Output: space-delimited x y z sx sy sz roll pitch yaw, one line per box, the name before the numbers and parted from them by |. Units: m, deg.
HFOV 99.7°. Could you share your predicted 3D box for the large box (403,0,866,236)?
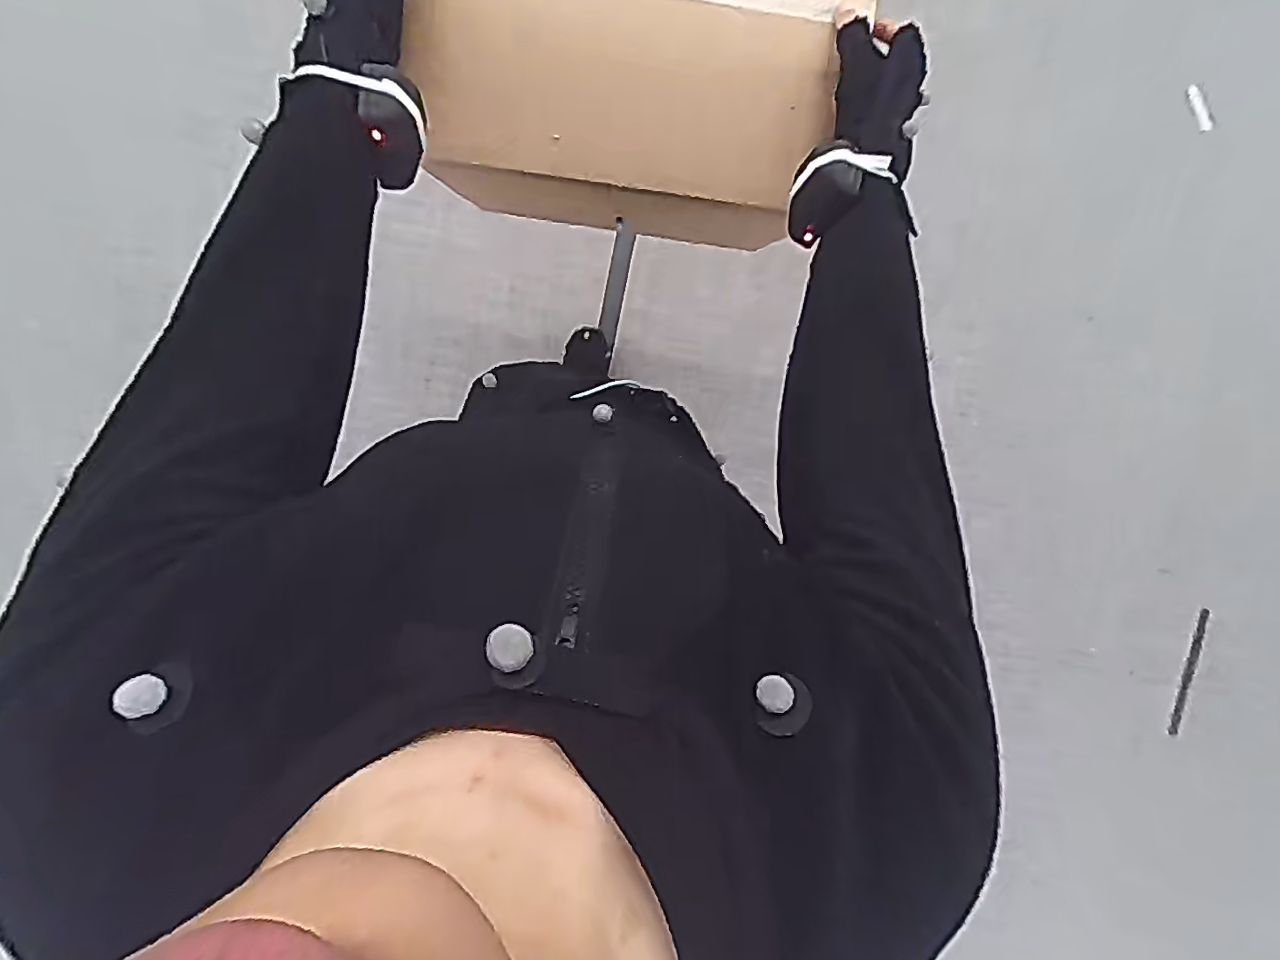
large box | -0.002 -0.475 0.602 0.408 0.320 0.320 7 106 -4
